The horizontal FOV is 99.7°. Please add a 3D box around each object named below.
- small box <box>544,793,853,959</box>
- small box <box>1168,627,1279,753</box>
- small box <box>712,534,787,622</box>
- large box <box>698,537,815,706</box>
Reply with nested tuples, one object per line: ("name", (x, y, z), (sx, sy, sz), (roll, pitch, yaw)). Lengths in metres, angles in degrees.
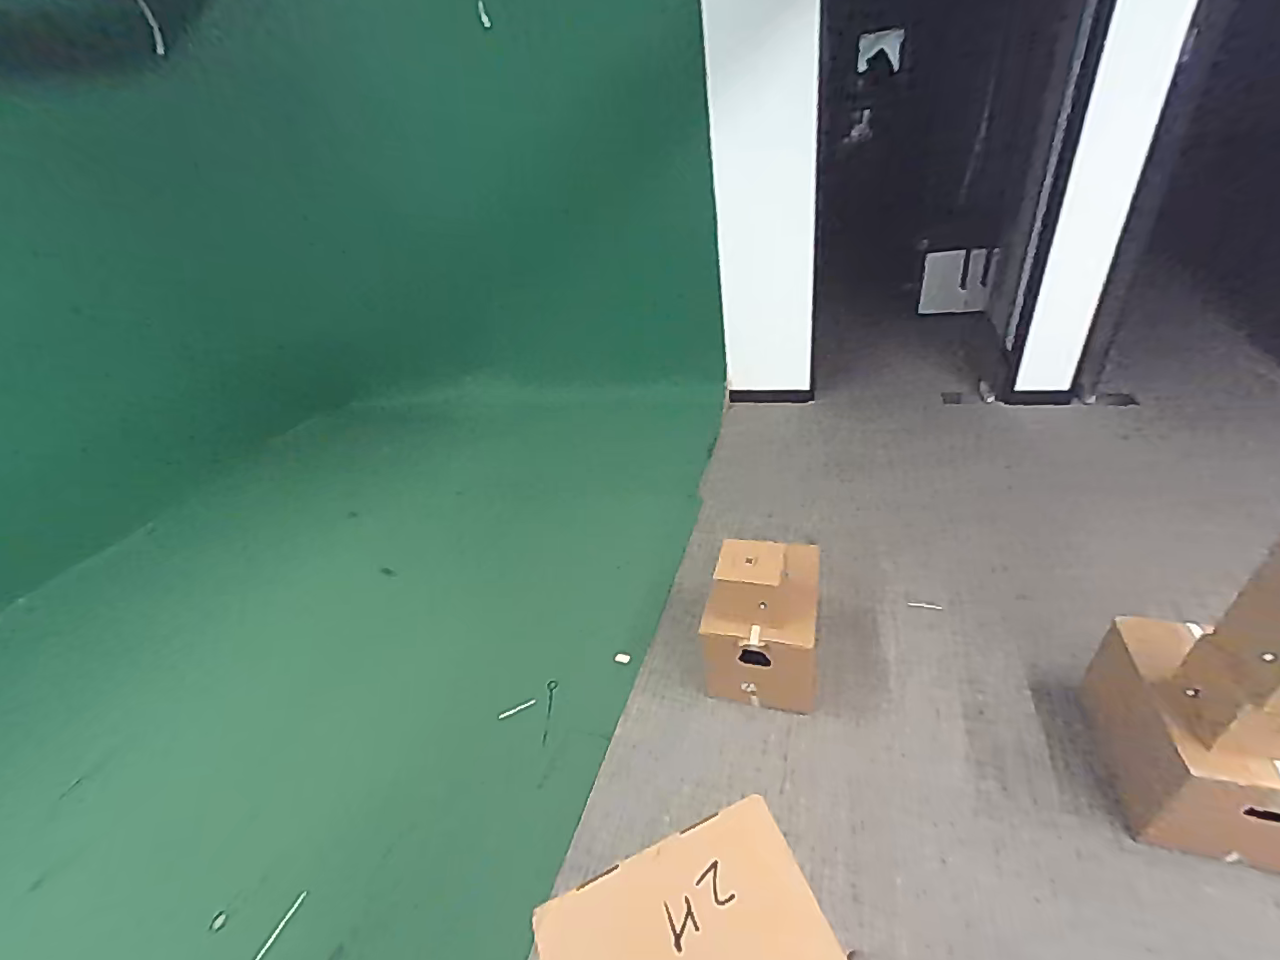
("small box", (0.056, 0.350, 0.353), (0.168, 0.176, 0.179), (-22, 44, -9))
("small box", (1.225, 0.421, 1.077), (0.179, 0.176, 0.168), (1, 37, 18))
("small box", (0.313, 0.275, 1.515), (0.179, 0.176, 0.168), (3, 36, 22))
("large box", (0.385, 0.434, 1.703), (0.320, 0.320, 0.408), (3, 36, 19))
